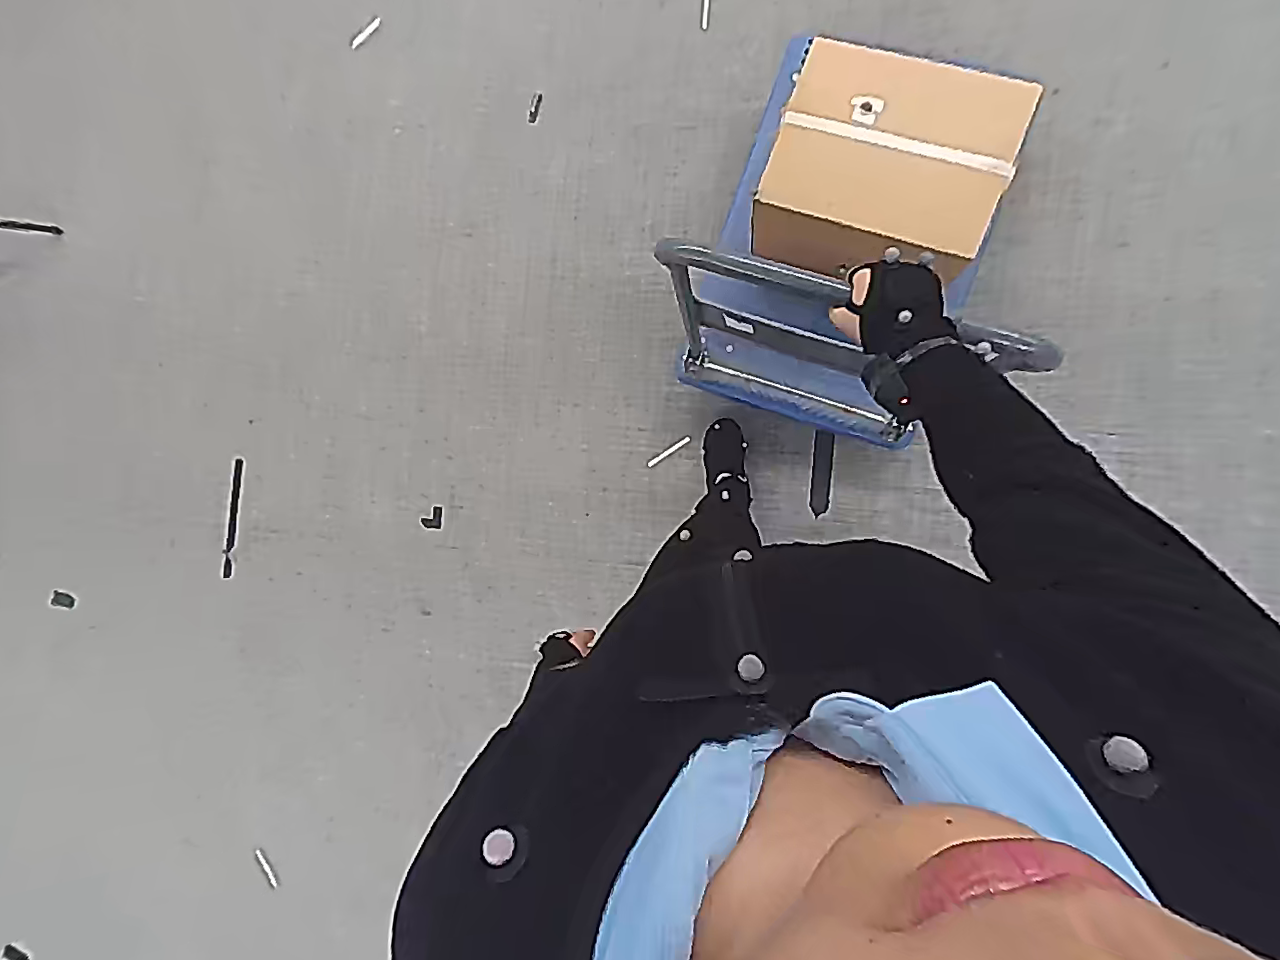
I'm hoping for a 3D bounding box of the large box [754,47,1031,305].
[{"bbox_3d":[0.481,-0.605,1.128,0.408,0.320,0.320,20,92,12],"label":"large box"}]
